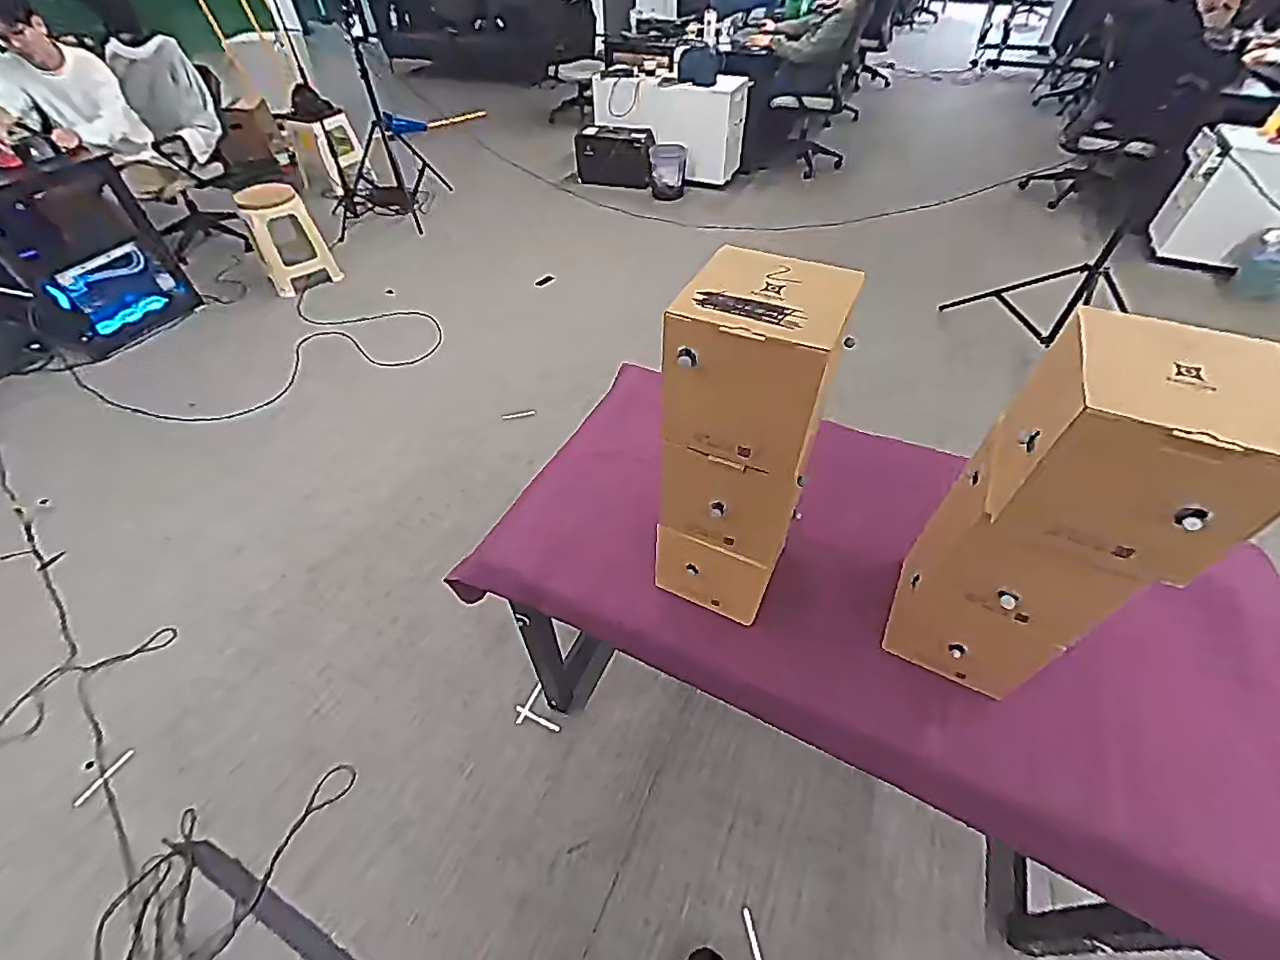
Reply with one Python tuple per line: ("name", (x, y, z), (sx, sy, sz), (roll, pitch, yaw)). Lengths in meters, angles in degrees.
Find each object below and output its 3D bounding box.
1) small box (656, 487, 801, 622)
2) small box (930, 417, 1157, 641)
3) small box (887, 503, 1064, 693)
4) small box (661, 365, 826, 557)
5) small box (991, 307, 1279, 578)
("small box", (0.136, 0.092, 0.853), (0.168, 0.176, 0.179), (20, 50, 18))
("small box", (0.476, 0.058, 0.655), (0.168, 0.176, 0.179), (21, 52, 19))
("small box", (0.474, 0.171, 0.775), (0.168, 0.176, 0.179), (22, 51, 19))
("small box", (0.137, -0.024, 0.737), (0.168, 0.176, 0.179), (19, 50, 16))
("small box", (0.467, -0.036, 0.522), (0.168, 0.176, 0.179), (19, 50, 17))
